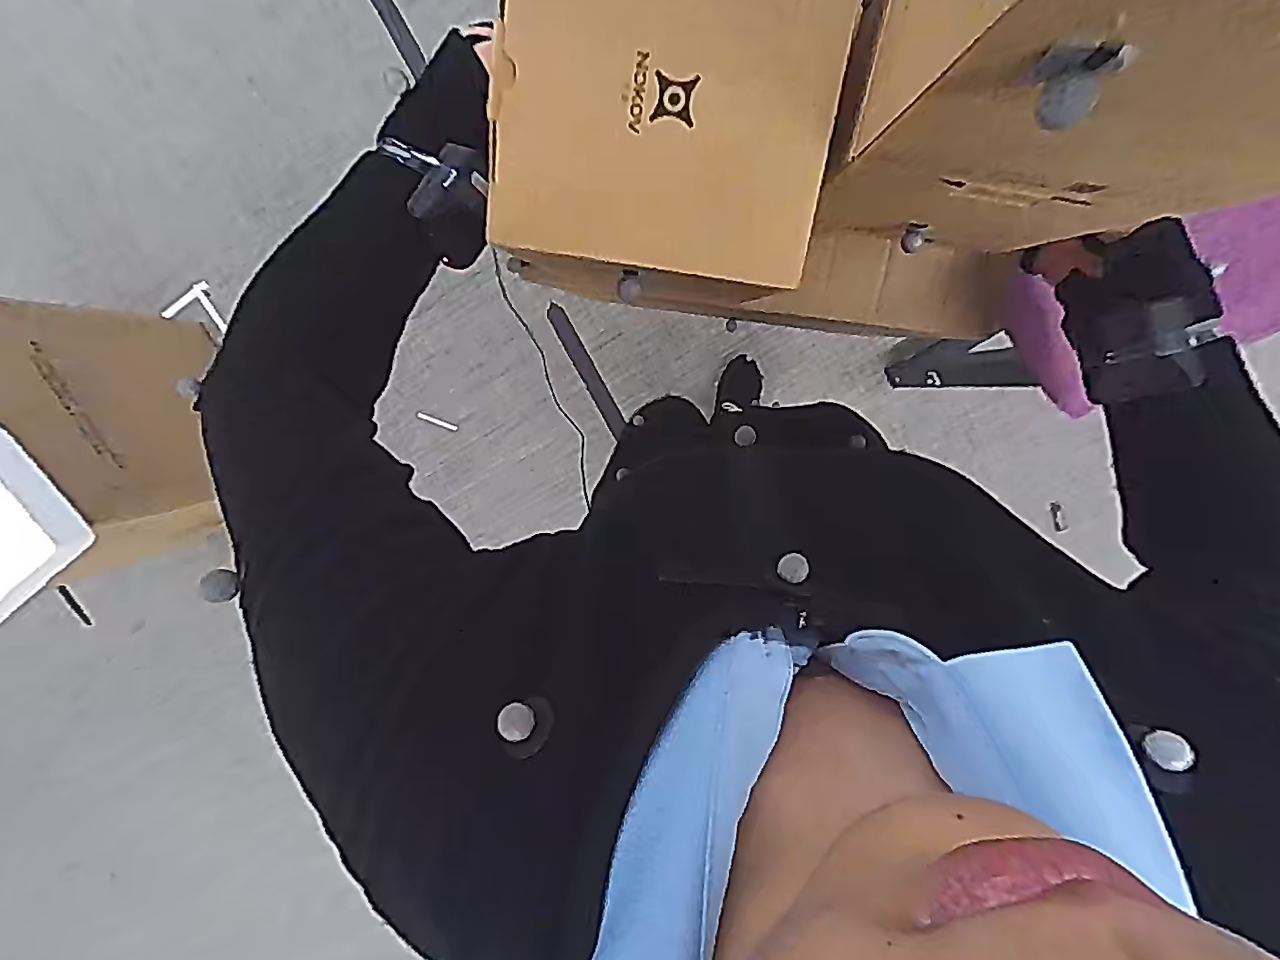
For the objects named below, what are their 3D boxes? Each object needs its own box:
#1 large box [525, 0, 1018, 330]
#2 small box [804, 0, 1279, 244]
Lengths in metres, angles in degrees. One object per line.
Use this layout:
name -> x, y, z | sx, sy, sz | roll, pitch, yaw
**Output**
large box -> 0.124, -0.331, 0.559 | 0.408, 0.320, 0.320 | 7, 104, 2
small box -> 0.210, -0.257, 0.318 | 0.168, 0.176, 0.179 | 11, 105, 1
